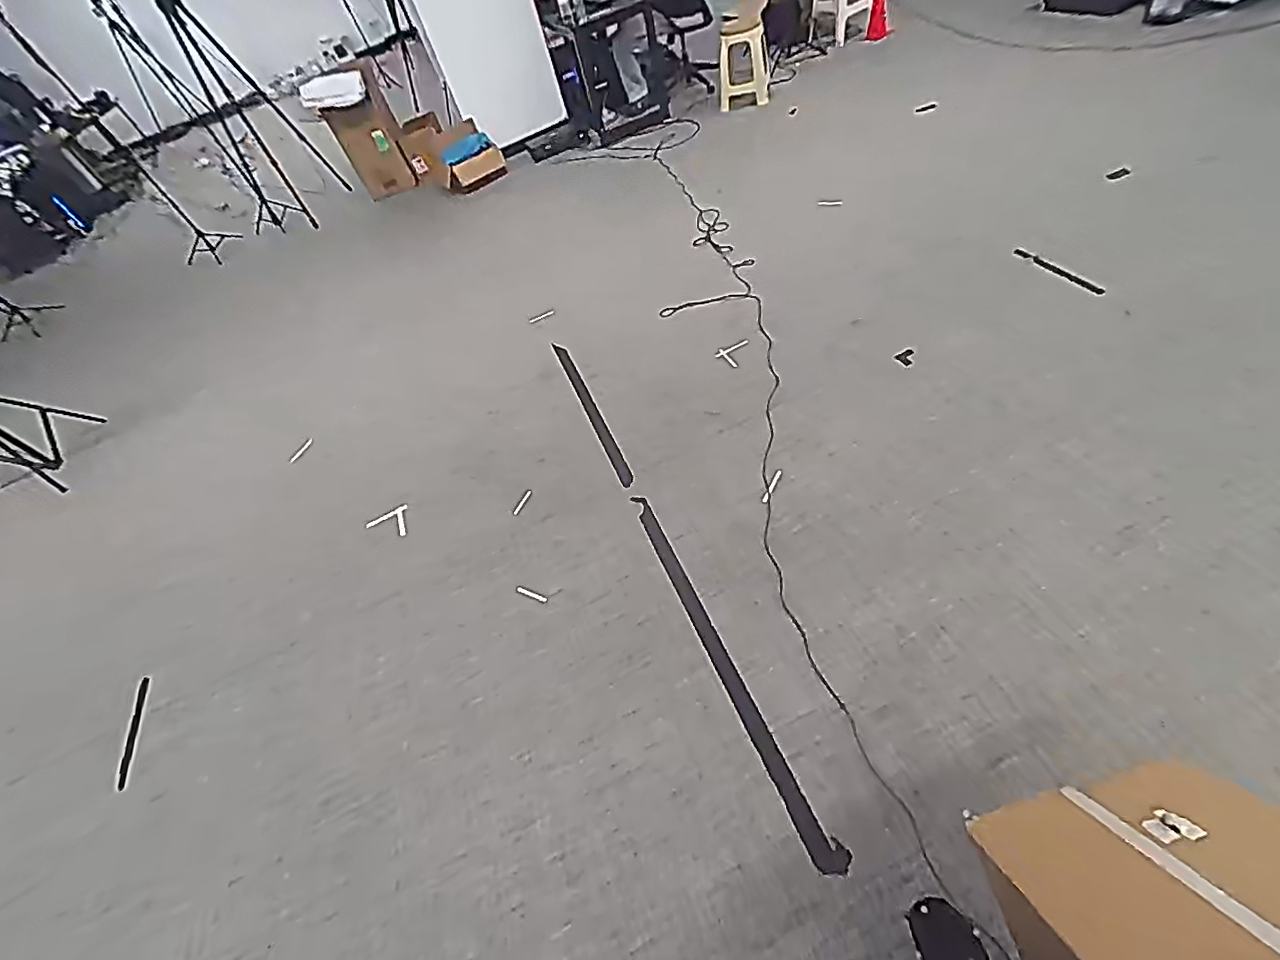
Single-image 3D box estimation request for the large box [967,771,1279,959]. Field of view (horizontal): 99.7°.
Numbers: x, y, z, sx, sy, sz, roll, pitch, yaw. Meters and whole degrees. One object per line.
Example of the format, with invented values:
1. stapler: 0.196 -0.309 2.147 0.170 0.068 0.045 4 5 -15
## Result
1. large box: 0.662 0.596 0.585 0.320 0.408 0.320 -20 82 4
